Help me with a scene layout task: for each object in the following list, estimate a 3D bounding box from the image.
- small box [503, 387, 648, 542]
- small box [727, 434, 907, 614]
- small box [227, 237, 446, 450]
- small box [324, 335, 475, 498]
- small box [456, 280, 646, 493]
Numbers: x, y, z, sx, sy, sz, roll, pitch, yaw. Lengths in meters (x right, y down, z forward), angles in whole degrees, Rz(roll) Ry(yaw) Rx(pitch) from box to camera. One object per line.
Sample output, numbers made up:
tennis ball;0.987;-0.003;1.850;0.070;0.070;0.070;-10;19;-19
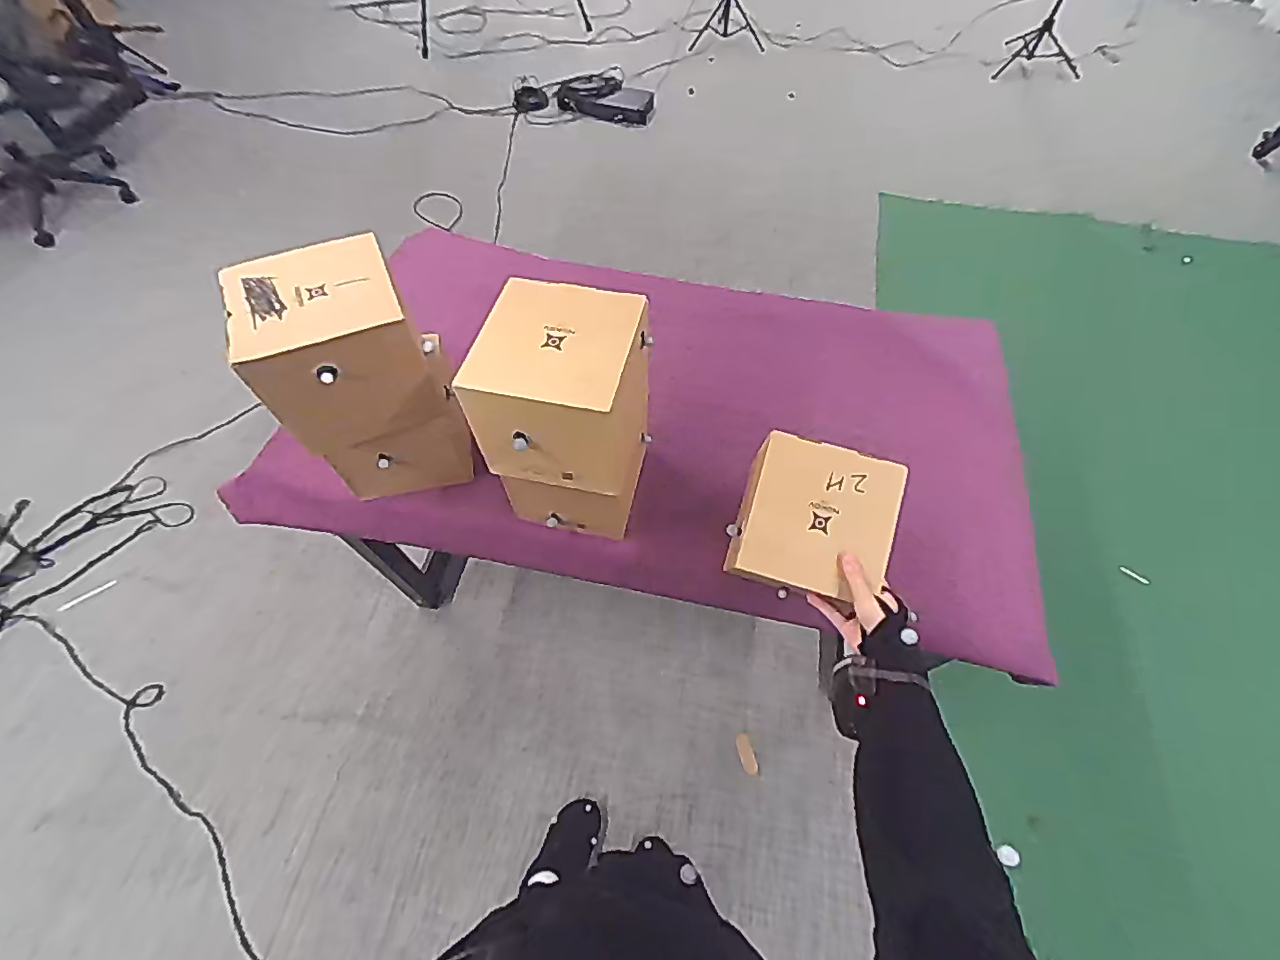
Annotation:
small box;-0.088;-0.034;0.791;0.168;0.176;0.179;11;59;7
small box;0.217;0.062;0.709;0.168;0.176;0.179;17;81;7
small box;-0.364;-0.163;0.669;0.179;0.176;0.168;-21;61;-14
small box;-0.362;-0.089;0.817;0.179;0.176;0.168;-11;59;-7
small box;-0.088;-0.105;0.644;0.168;0.176;0.179;10;57;7
